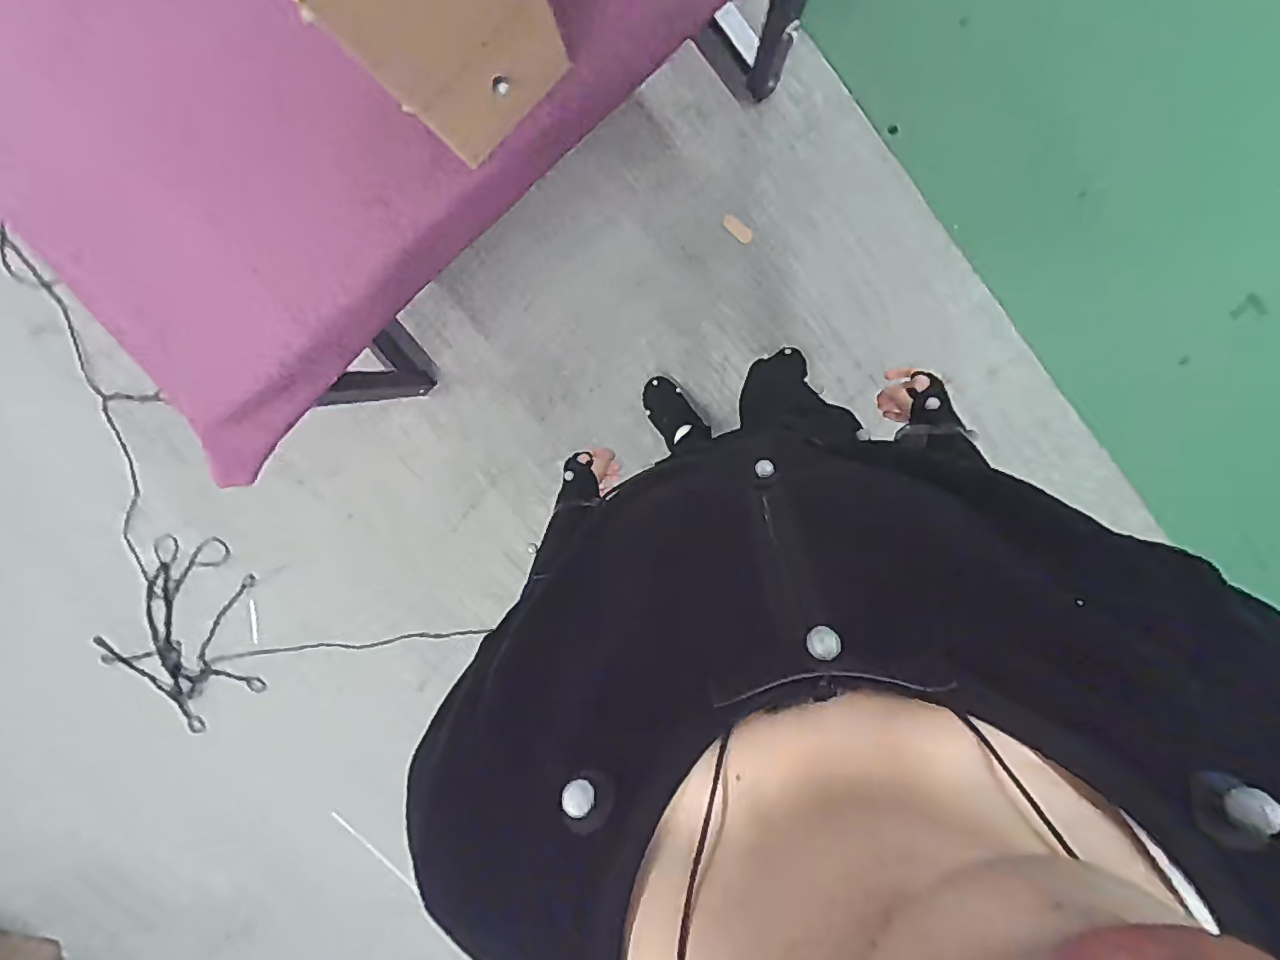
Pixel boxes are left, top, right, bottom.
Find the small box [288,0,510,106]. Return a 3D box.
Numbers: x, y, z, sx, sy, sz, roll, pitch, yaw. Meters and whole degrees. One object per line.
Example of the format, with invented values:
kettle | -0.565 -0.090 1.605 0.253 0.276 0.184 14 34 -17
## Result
small box | -0.223 -0.464 0.435 0.179 0.176 0.168 -39 94 11
